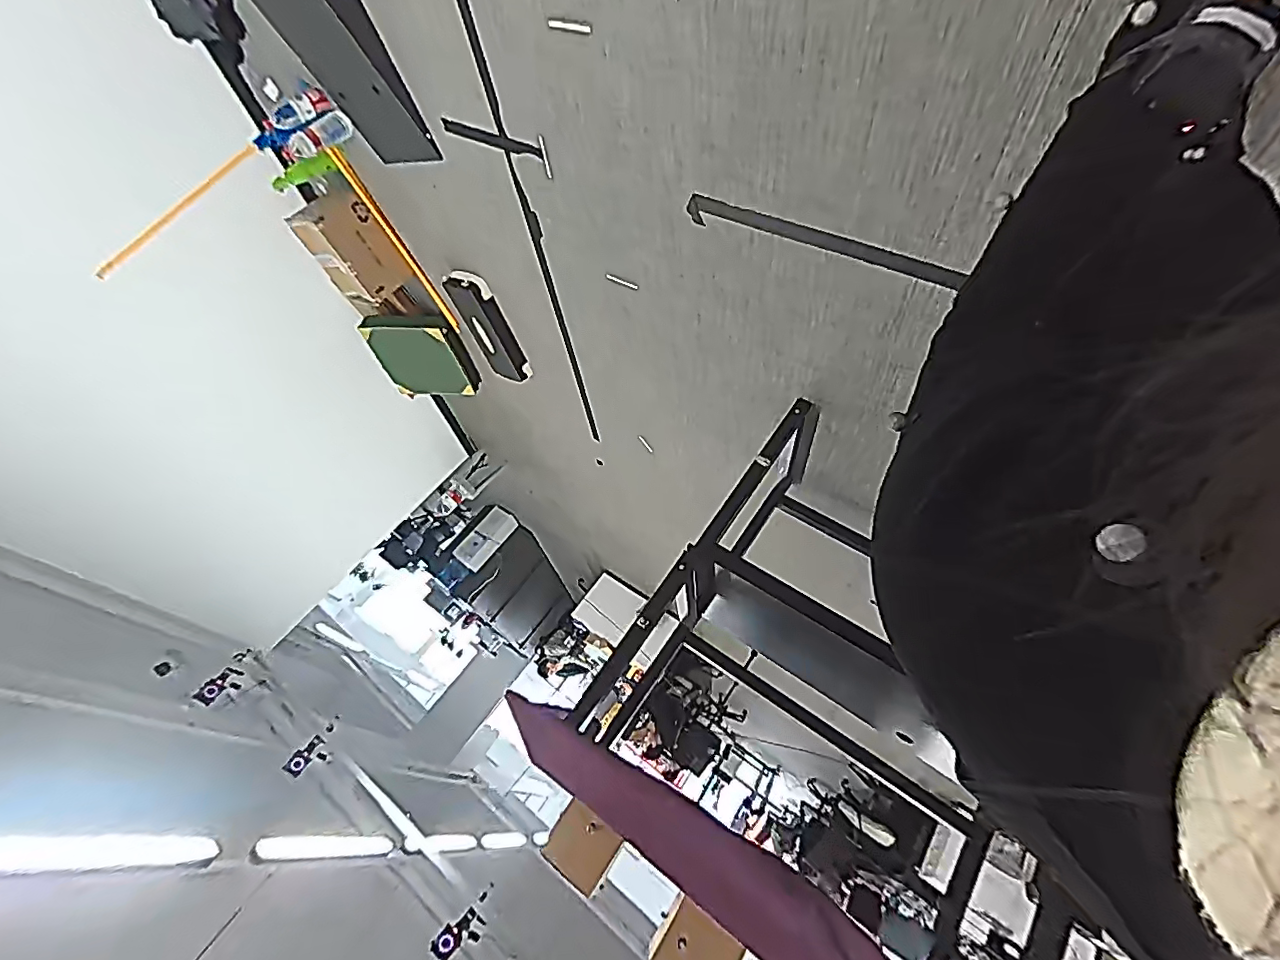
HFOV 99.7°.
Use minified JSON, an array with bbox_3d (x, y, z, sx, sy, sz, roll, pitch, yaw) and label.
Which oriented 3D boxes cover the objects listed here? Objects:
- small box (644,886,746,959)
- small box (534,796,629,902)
[{"bbox_3d":[0.128,1.125,1.298,0.179,0.176,0.168,32,157,17],"label":"small box"},{"bbox_3d":[-0.153,0.986,1.464,0.179,0.176,0.168,31,157,21],"label":"small box"}]
